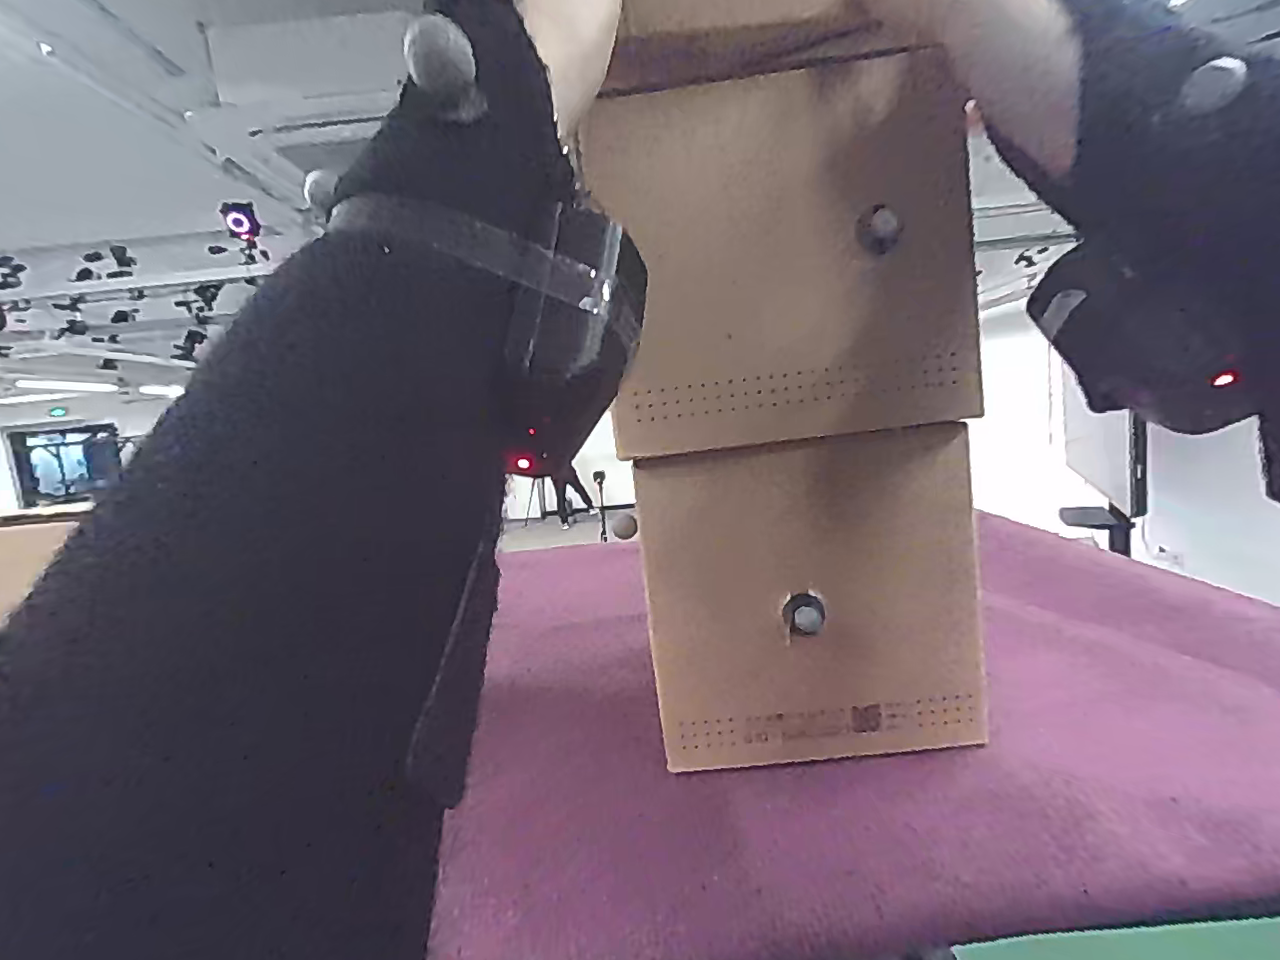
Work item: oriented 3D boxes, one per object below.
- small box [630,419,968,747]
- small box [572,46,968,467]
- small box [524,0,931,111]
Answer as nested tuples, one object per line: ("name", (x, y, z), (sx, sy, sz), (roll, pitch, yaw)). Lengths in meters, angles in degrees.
("small box", (0.088, 0.054, 0.354), (0.168, 0.176, 0.179), (-6, 5, 3))
("small box", (0.067, -0.105, 0.324), (0.179, 0.176, 0.168), (-8, 4, 2))
("small box", (0.033, -0.289, 0.270), (0.179, 0.176, 0.168), (-3, 20, 2))
